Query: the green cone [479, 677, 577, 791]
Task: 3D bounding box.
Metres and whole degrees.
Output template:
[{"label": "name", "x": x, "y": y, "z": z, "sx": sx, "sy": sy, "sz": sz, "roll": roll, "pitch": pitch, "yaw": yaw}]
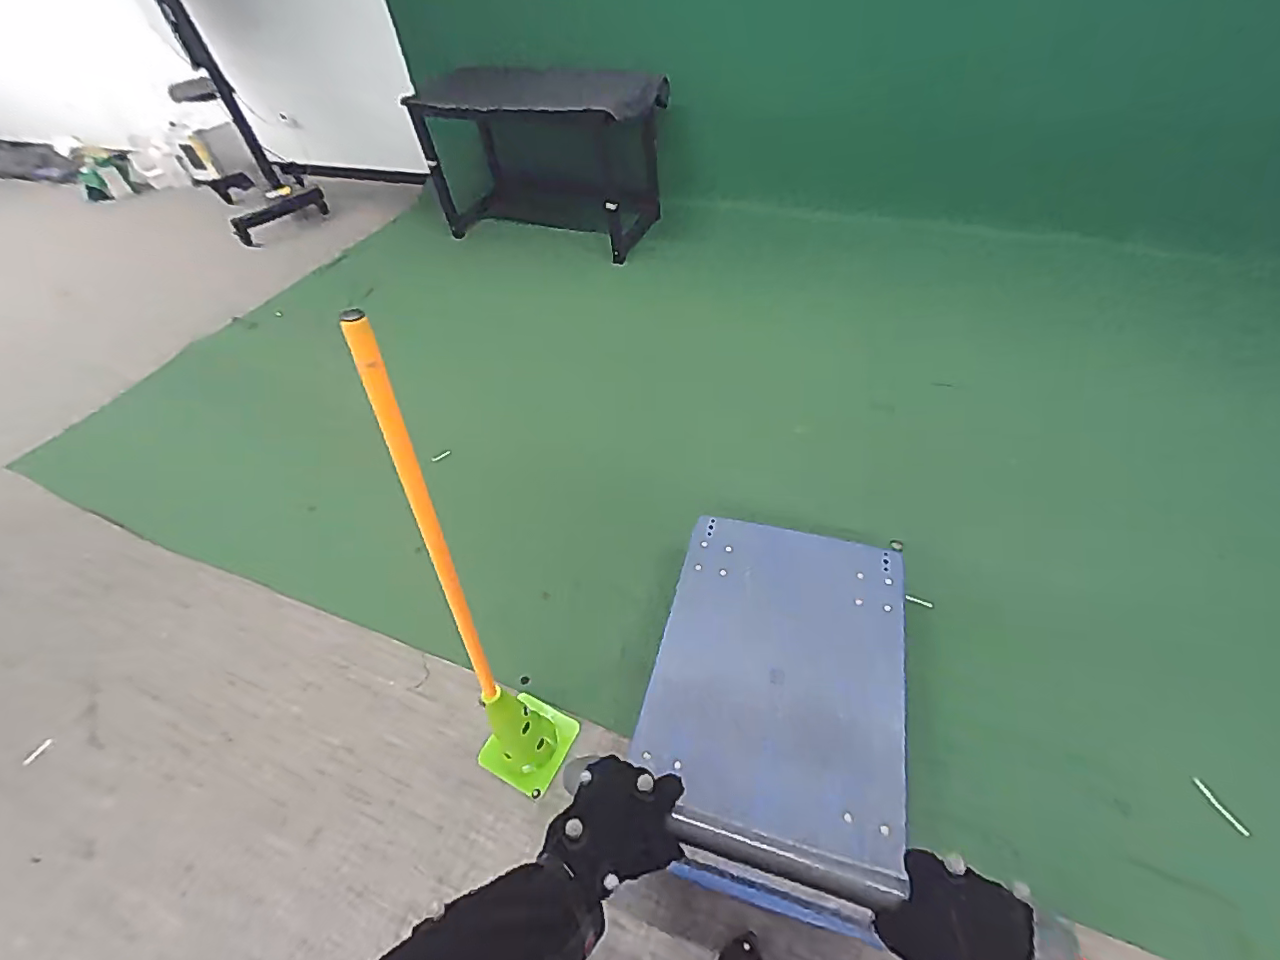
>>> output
[{"label": "green cone", "x": -0.301, "y": 0.553, "z": 1.274, "sx": 0.202, "sy": 0.368, "sz": 0.200, "roll": 18, "pitch": 52, "yaw": 21}]
